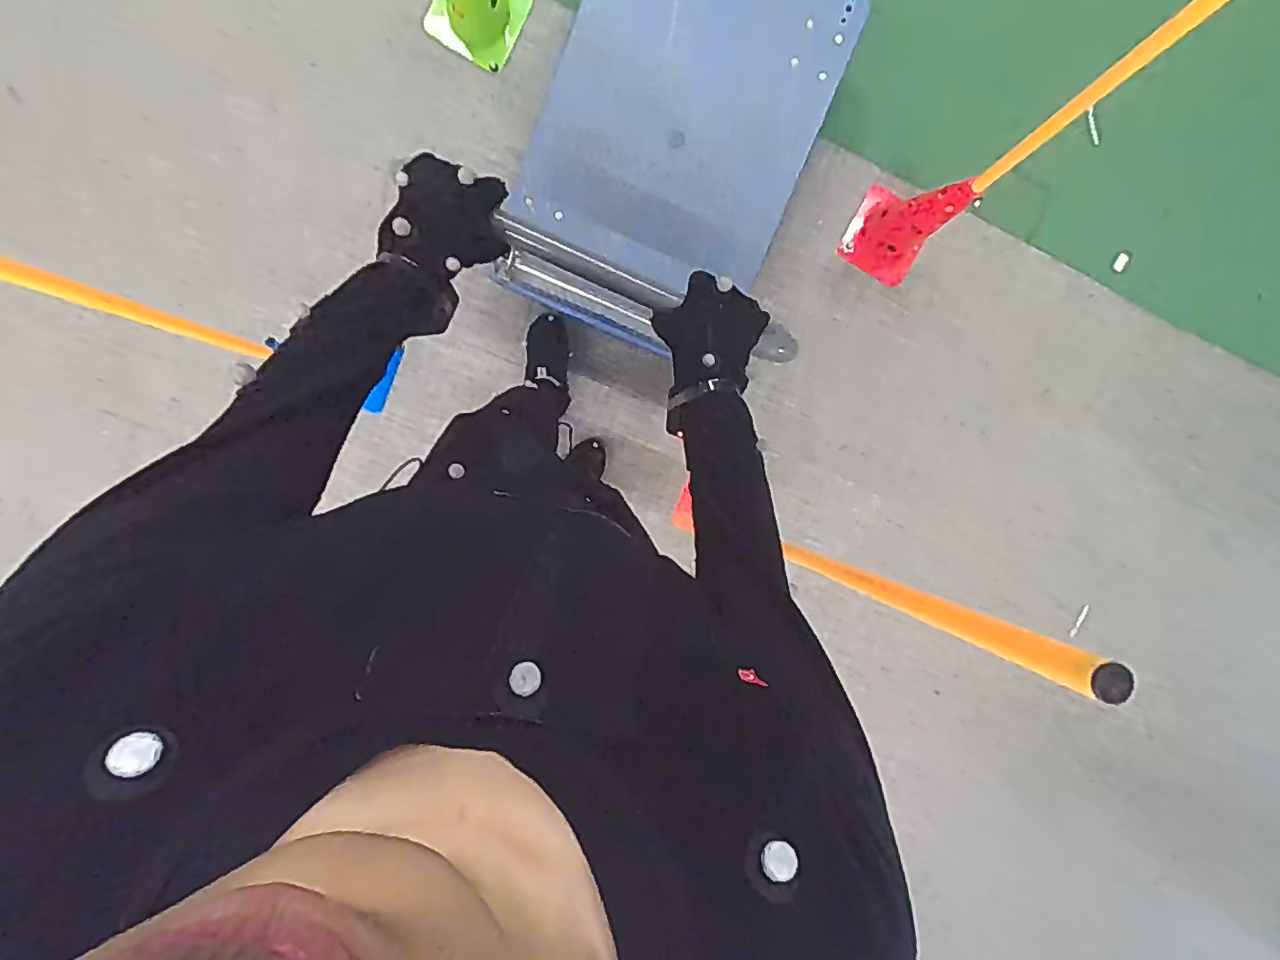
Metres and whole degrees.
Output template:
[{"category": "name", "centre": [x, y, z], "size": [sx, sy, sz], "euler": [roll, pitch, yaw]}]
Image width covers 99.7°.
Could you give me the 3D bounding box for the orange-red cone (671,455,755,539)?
[{"category": "orange-red cone", "centre": [0.214, 0.073, 1.339], "size": [0.199, 0.360, 0.198], "euler": [22, 96, -6]}]

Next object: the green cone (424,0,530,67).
[{"category": "green cone", "centre": [-0.370, -1.086, 1.102], "size": [0.202, 0.368, 0.200], "euler": [27, 96, -7]}]
